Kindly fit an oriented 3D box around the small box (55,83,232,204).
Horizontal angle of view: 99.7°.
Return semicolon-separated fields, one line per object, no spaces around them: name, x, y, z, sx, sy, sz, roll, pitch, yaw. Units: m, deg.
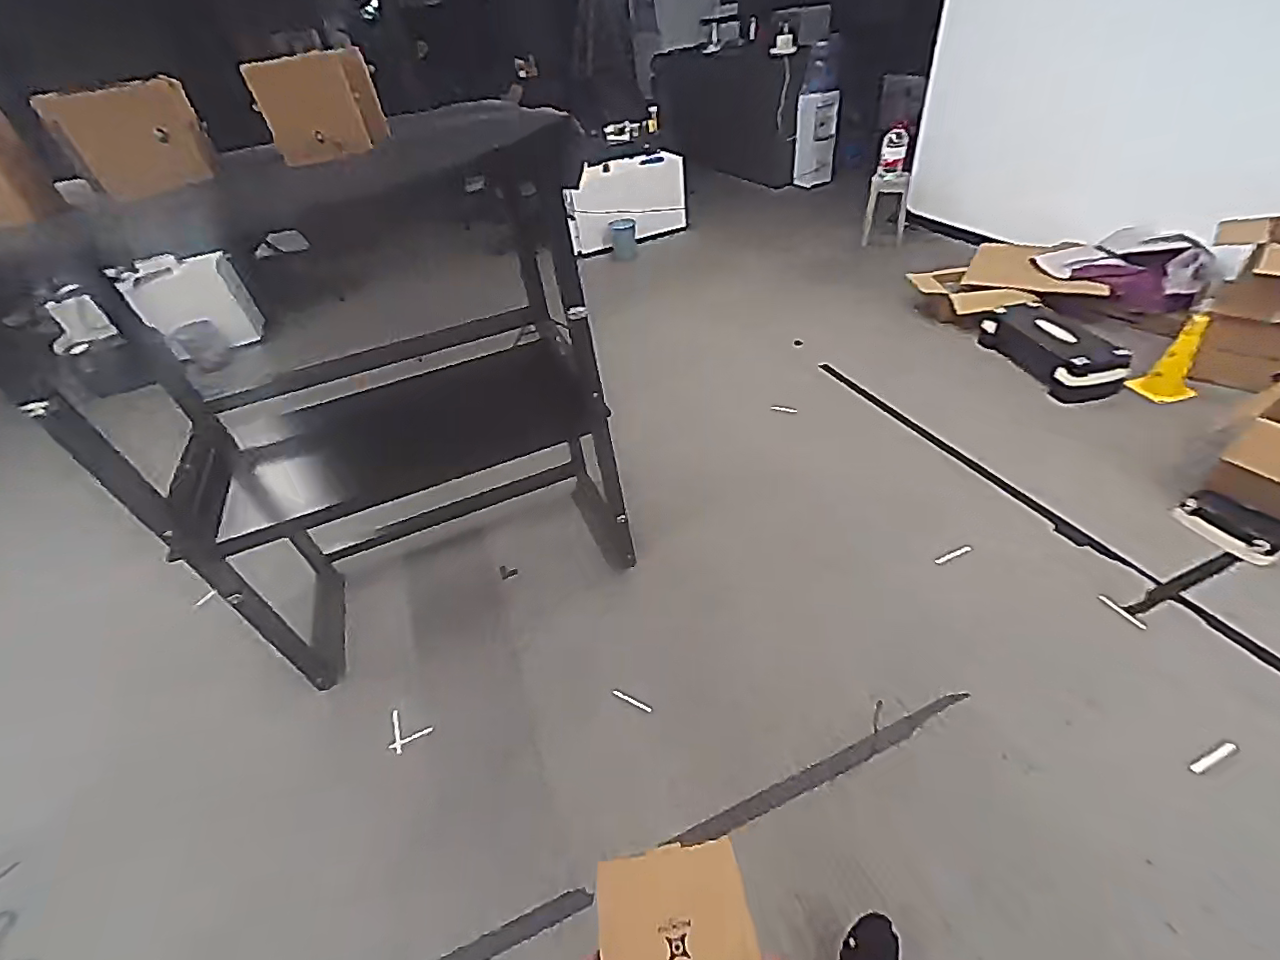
small box;-0.924;-0.644;1.031;0.179;0.176;0.168;-21;40;-16

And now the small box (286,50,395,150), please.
small box;-0.693;-0.892;1.271;0.168;0.176;0.179;-20;42;-12

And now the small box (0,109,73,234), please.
small box;-1.177;-0.540;0.956;0.168;0.176;0.179;-22;43;-16

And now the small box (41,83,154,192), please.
small box;-1.103;-0.739;1.171;0.168;0.176;0.179;-20;41;-12
